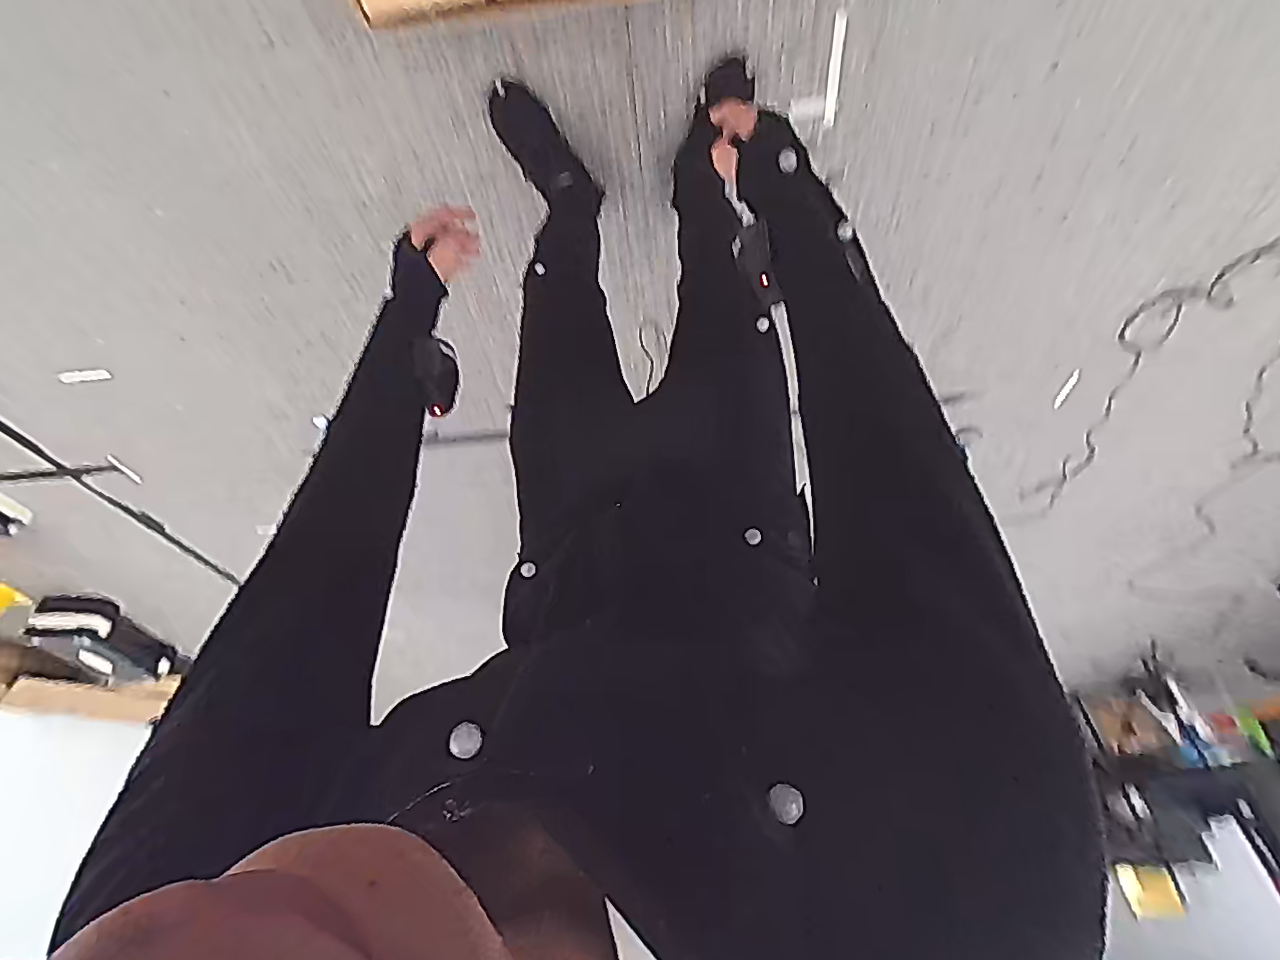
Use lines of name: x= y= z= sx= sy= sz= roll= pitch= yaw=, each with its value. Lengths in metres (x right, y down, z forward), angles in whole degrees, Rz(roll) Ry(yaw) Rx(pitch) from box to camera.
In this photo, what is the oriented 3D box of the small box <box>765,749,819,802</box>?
small box: x=0.626 y=1.226 z=2.250 sx=0.168 sy=0.176 sz=0.179 roll=-1 pitch=141 yaw=-1
